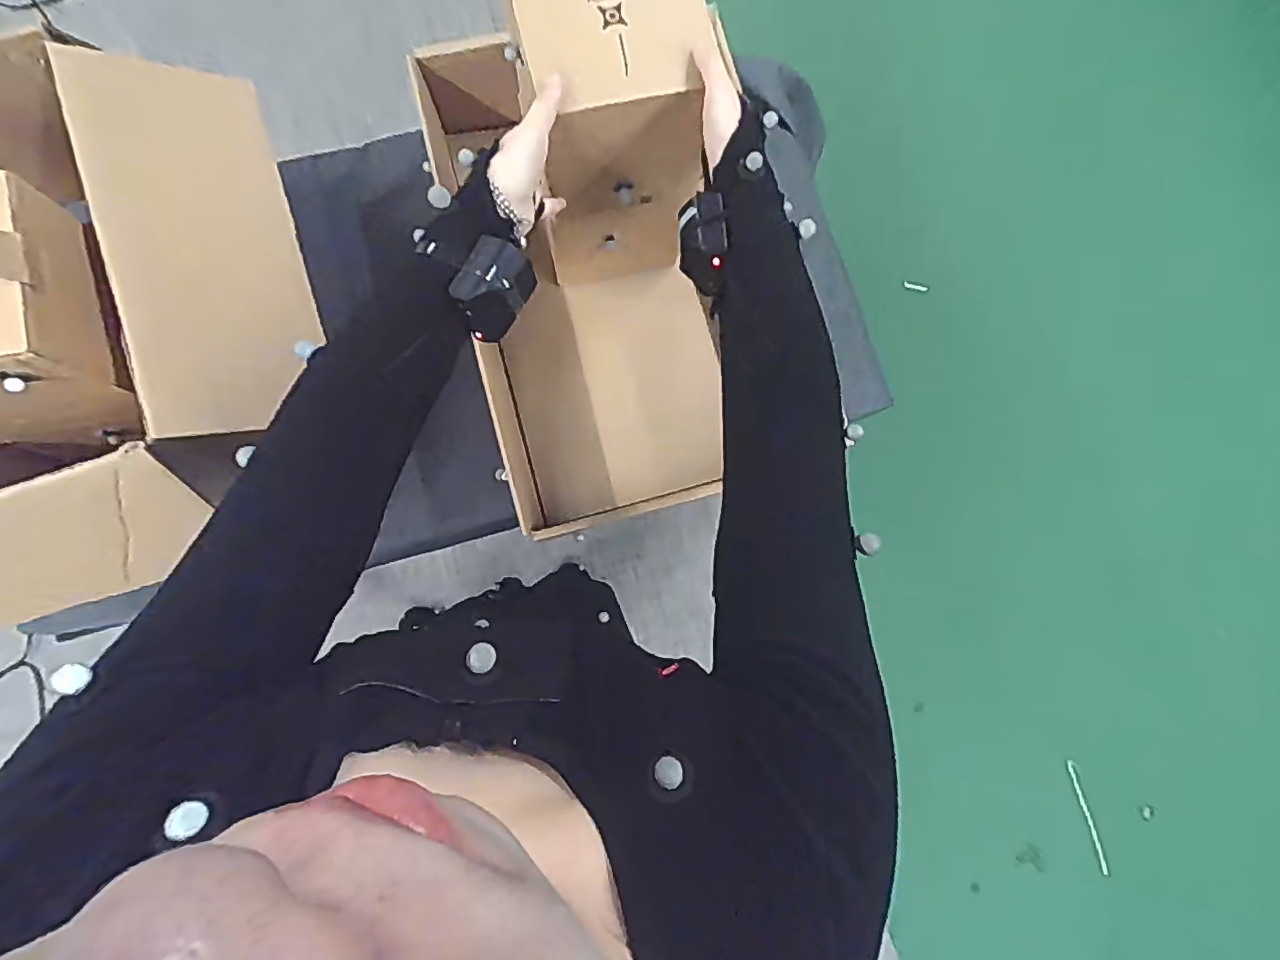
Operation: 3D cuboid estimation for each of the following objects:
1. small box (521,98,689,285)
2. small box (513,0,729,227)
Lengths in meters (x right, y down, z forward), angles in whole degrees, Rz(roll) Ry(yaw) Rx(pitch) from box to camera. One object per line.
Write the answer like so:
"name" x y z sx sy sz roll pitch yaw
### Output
"small box" -0.041 -0.379 0.710 0.179 0.176 0.168 -14 86 -5
"small box" -0.028 -0.393 0.546 0.168 0.176 0.179 -14 86 -6
